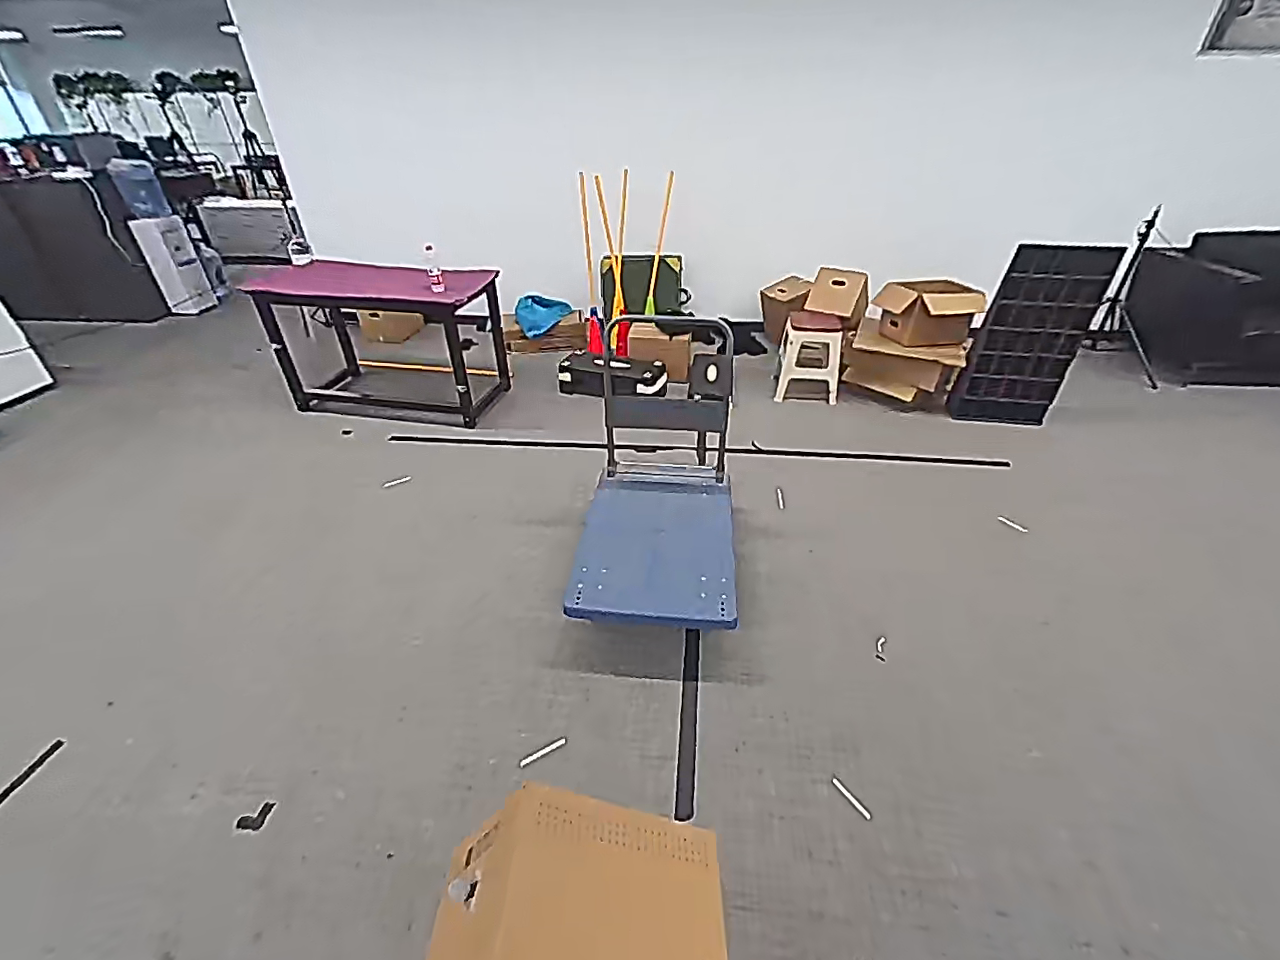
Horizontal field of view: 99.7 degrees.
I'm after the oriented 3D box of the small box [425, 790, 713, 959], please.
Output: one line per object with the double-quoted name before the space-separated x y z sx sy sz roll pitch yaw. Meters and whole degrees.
"small box" -0.055 0.361 0.407 0.179 0.168 0.176 26 33 -17
